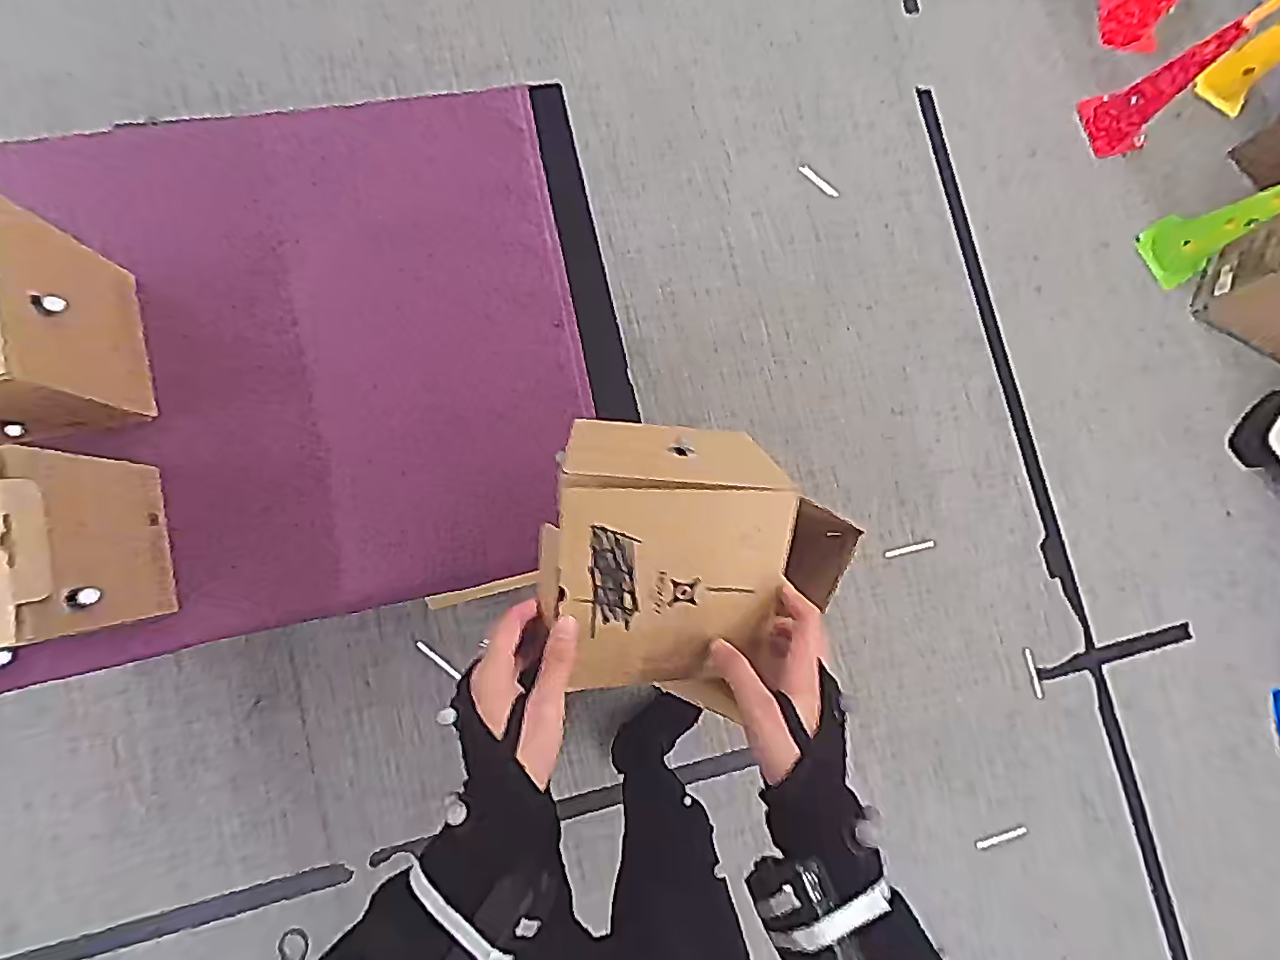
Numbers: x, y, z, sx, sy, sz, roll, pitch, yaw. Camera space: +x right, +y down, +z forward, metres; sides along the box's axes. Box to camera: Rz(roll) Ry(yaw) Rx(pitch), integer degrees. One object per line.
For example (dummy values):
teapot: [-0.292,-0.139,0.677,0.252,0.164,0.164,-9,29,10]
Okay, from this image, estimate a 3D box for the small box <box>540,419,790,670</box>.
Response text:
small box: [0.011,0.045,0.484,0.179,0.176,0.168,4,109,-5]
